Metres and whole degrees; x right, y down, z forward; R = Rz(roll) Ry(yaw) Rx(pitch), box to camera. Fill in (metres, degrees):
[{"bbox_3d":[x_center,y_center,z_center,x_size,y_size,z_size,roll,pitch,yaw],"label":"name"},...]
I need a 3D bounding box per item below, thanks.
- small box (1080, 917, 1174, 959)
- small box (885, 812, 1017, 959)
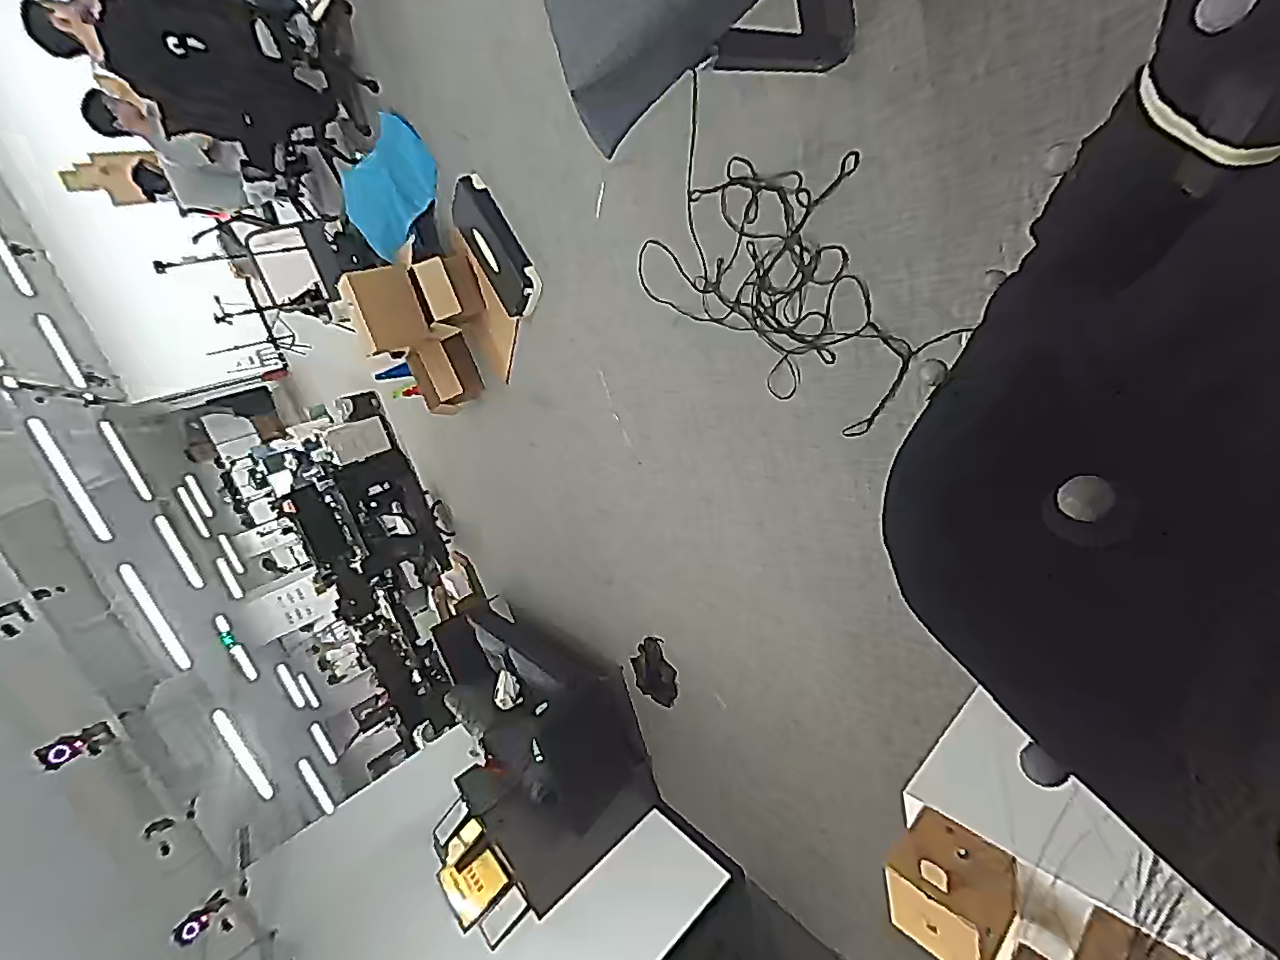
[{"bbox_3d":[0.765,0.829,0.816,0.168,0.176,0.179,13,124,53],"label":"small box"},{"bbox_3d":[0.596,0.795,1.032,0.168,0.176,0.179,11,121,52],"label":"small box"}]
